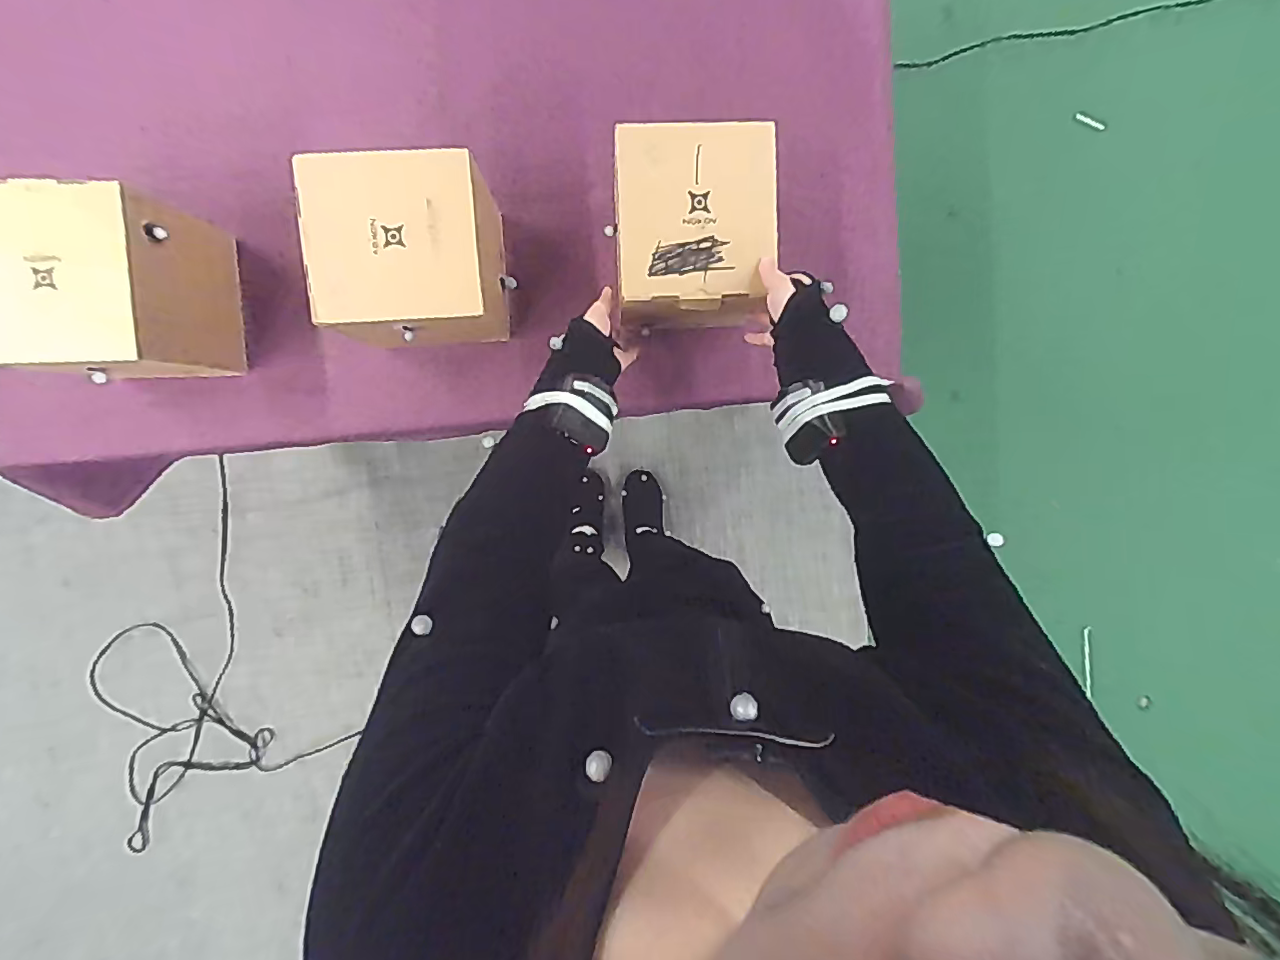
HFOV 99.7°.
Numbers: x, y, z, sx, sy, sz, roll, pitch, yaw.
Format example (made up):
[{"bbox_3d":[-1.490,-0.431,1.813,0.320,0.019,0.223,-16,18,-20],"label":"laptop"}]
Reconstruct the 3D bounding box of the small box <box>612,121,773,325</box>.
[{"bbox_3d":[0.053,-0.283,0.635,0.168,0.176,0.179,-3,94,-3],"label":"small box"}]

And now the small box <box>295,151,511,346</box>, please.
[{"bbox_3d":[-0.258,-0.252,0.626,0.179,0.176,0.168,-3,96,-3],"label":"small box"}]

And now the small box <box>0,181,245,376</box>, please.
[{"bbox_3d":[-0.589,-0.213,0.615,0.168,0.176,0.179,-2,94,-2],"label":"small box"}]
